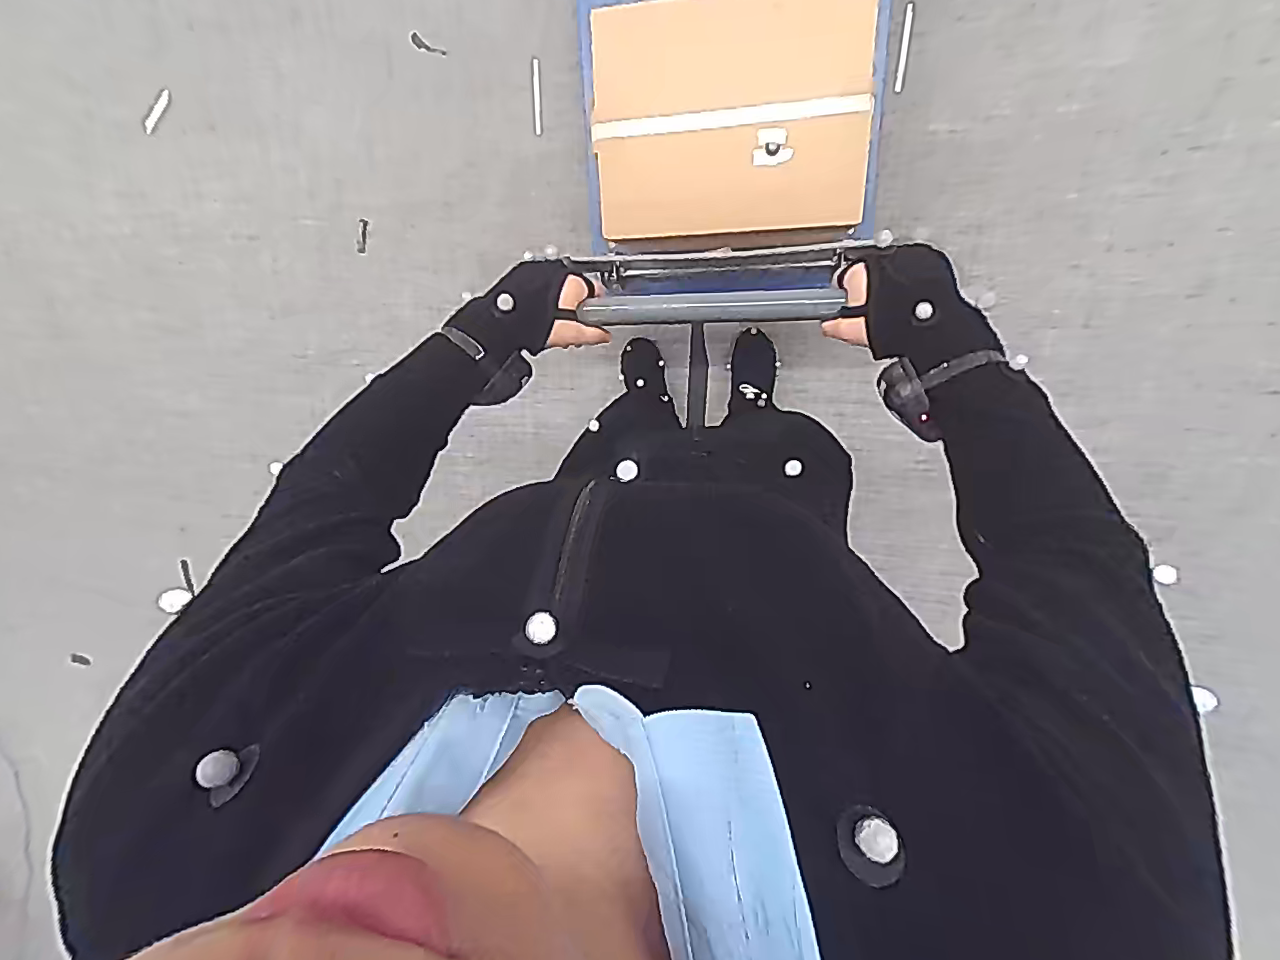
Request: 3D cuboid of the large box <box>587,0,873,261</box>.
[{"bbox_3d":[0.148,-0.569,0.940,0.408,0.320,0.320,1,109,10],"label":"large box"}]
